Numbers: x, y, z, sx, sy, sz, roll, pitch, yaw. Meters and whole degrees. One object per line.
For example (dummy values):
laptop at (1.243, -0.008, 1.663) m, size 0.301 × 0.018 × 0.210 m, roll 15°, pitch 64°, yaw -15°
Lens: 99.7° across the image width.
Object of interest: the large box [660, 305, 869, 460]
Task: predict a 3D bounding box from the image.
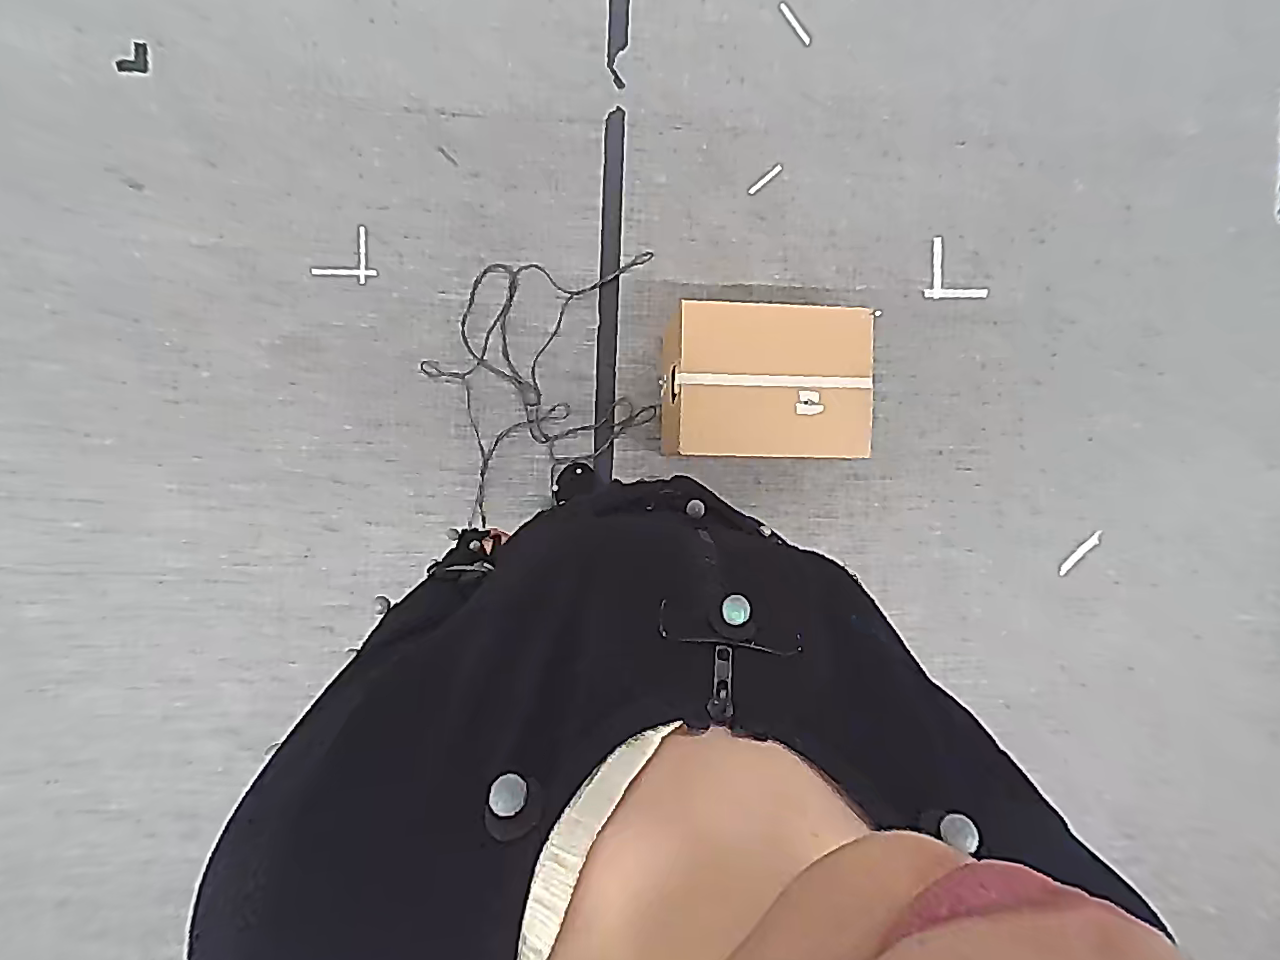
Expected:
large box at (0.263, -0.204, 1.257) m, size 0.408 × 0.320 × 0.320 m, roll 0°, pitch 92°, yaw -5°
